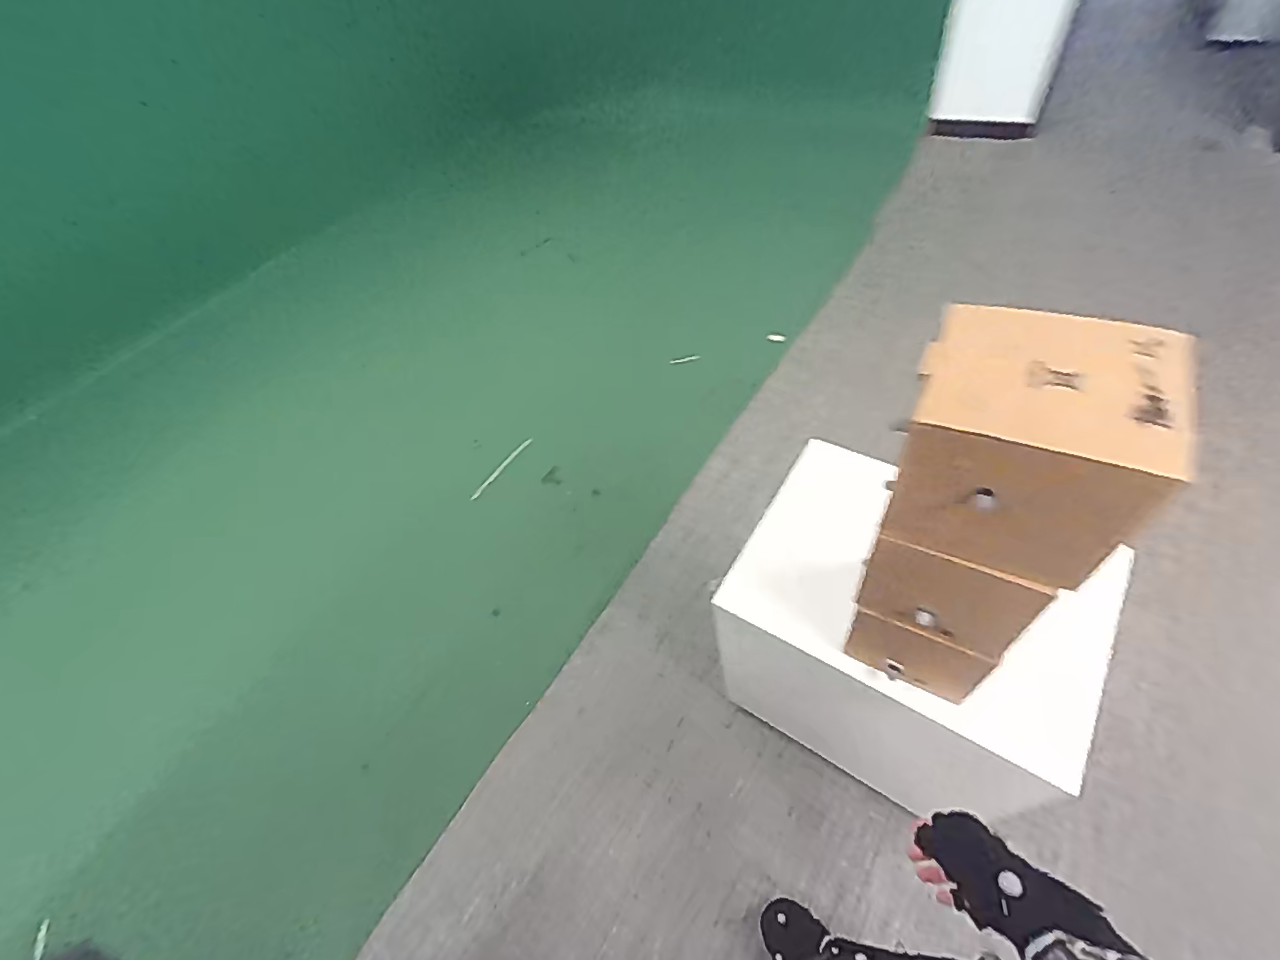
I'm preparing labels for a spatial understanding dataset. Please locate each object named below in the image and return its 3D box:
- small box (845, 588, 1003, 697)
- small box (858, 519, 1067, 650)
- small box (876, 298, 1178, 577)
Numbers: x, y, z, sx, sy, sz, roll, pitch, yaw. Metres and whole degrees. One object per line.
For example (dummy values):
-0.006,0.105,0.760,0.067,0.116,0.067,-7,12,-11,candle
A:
0.391,0.163,0.740,0.168,0.176,0.179,18,61,26,small box
0.360,0.060,0.616,0.168,0.176,0.179,17,57,25,small box
0.329,-0.037,0.488,0.179,0.176,0.168,17,59,26,small box
